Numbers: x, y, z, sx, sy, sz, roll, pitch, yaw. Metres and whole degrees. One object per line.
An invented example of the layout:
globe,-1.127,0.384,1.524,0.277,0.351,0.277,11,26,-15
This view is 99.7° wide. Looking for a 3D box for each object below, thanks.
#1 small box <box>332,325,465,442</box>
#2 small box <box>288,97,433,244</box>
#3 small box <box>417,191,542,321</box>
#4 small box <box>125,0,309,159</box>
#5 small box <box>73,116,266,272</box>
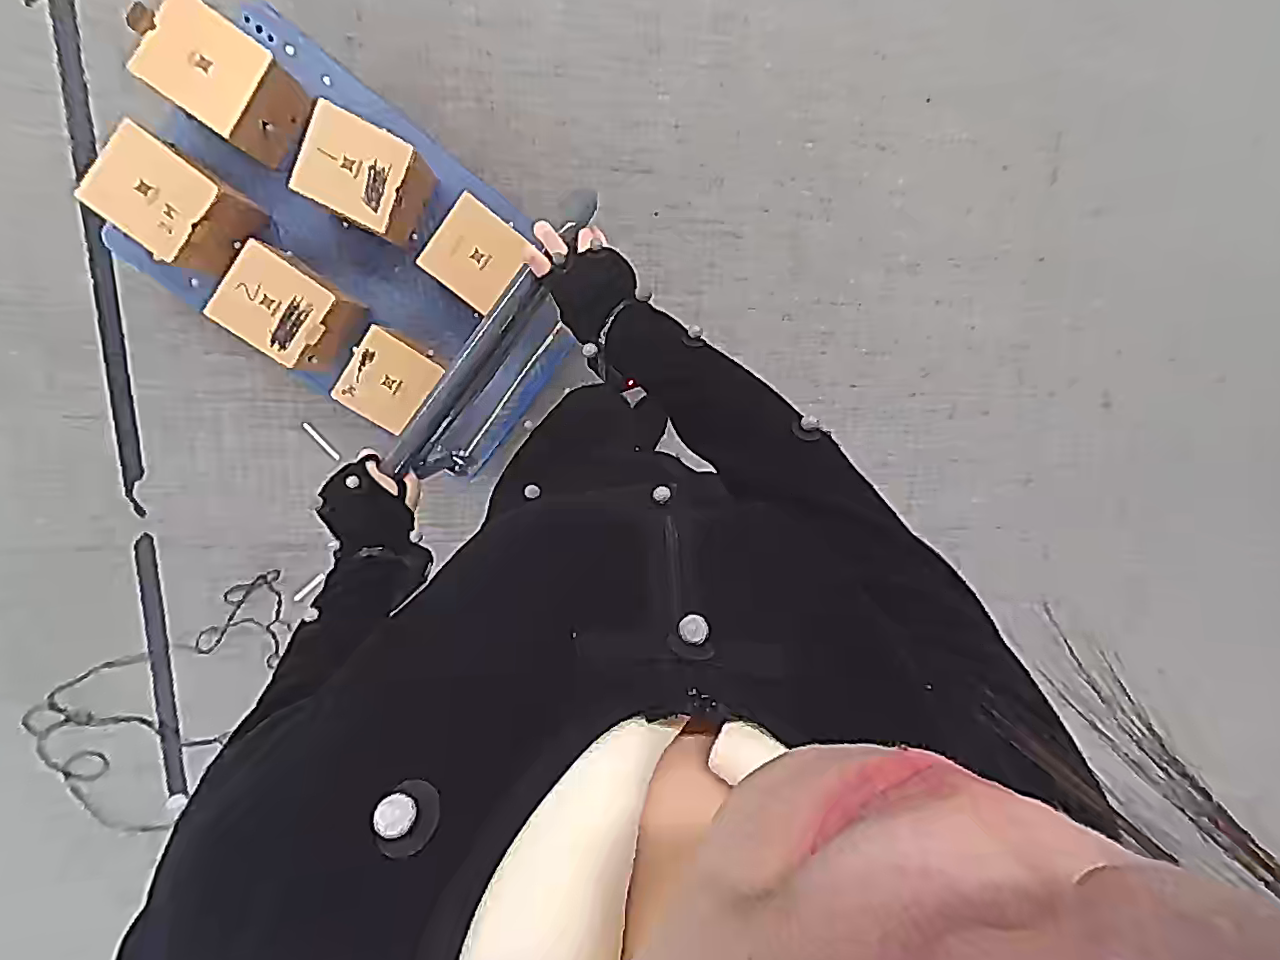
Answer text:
small box,-0.489,-0.203,1.128,0.179,0.176,0.168,33,95,-13
small box,-0.525,-0.579,1.045,0.179,0.176,0.168,24,97,-11
small box,-0.314,-0.443,1.104,0.179,0.176,0.168,37,94,-13
small box,-0.750,-0.722,0.984,0.179,0.176,0.168,33,96,-13
small box,-0.860,-0.515,1.009,0.179,0.176,0.168,38,95,-14
